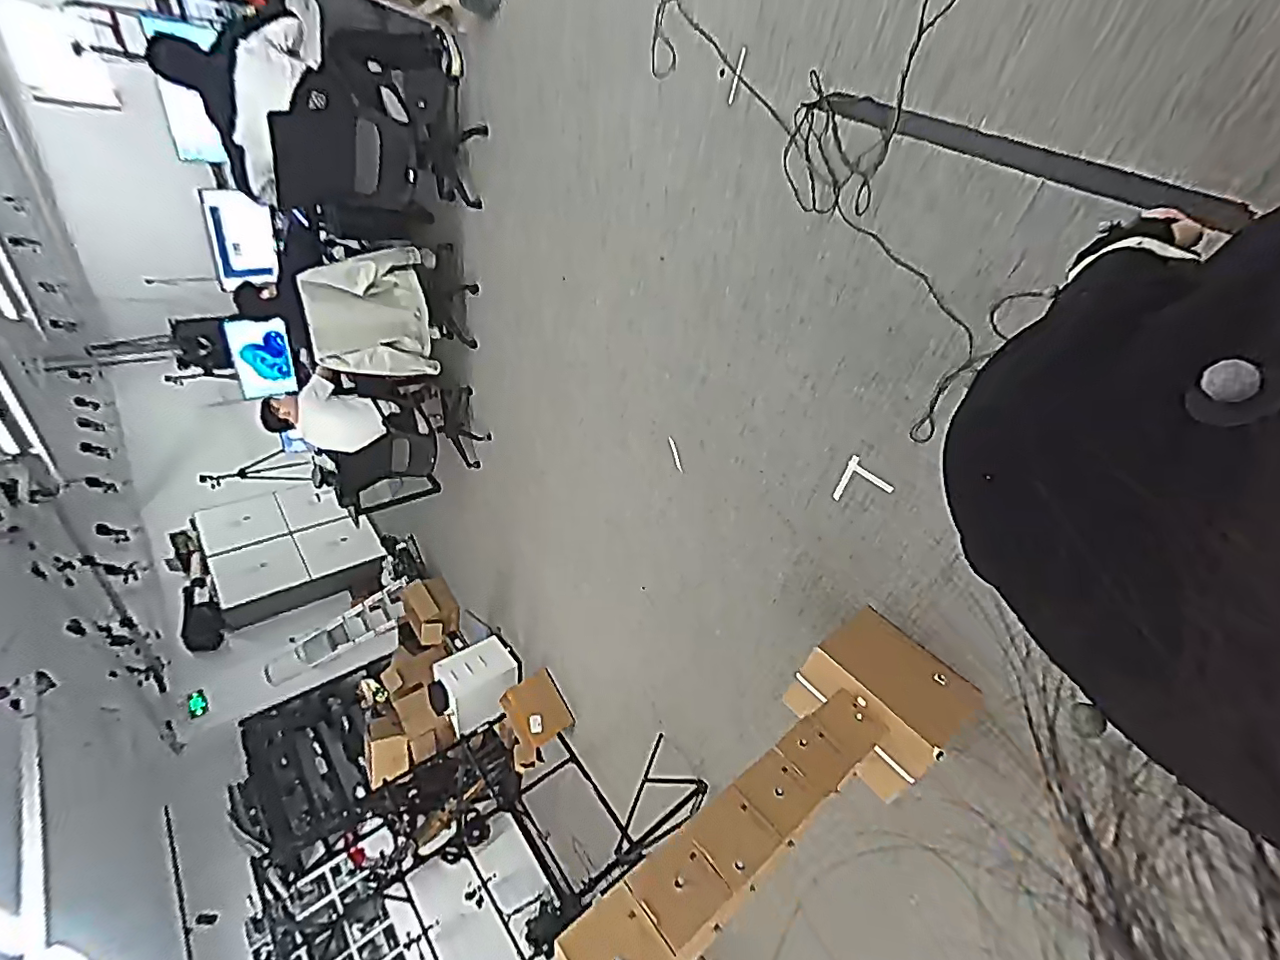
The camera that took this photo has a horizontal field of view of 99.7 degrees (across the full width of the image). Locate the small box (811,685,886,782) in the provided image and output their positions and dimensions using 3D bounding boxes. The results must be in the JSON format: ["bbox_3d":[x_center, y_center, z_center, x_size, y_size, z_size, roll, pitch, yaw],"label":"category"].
[{"bbox_3d":[0.572,0.733,1.553,0.168,0.176,0.179,40,133,33],"label":"small box"}]

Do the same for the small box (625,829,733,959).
[{"bbox_3d":[0.077,0.903,1.161,0.168,0.176,0.179,33,128,40],"label":"small box"}]

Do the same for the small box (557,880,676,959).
[{"bbox_3d":[-0.047,0.949,1.065,0.168,0.176,0.179,33,130,40],"label":"small box"}]

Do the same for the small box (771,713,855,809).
[{"bbox_3d":[0.448,0.770,1.456,0.168,0.176,0.179,40,135,35],"label":"small box"}]

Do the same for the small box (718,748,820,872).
[{"bbox_3d":[0.325,0.819,1.358,0.168,0.176,0.179,37,132,38],"label":"small box"}]
